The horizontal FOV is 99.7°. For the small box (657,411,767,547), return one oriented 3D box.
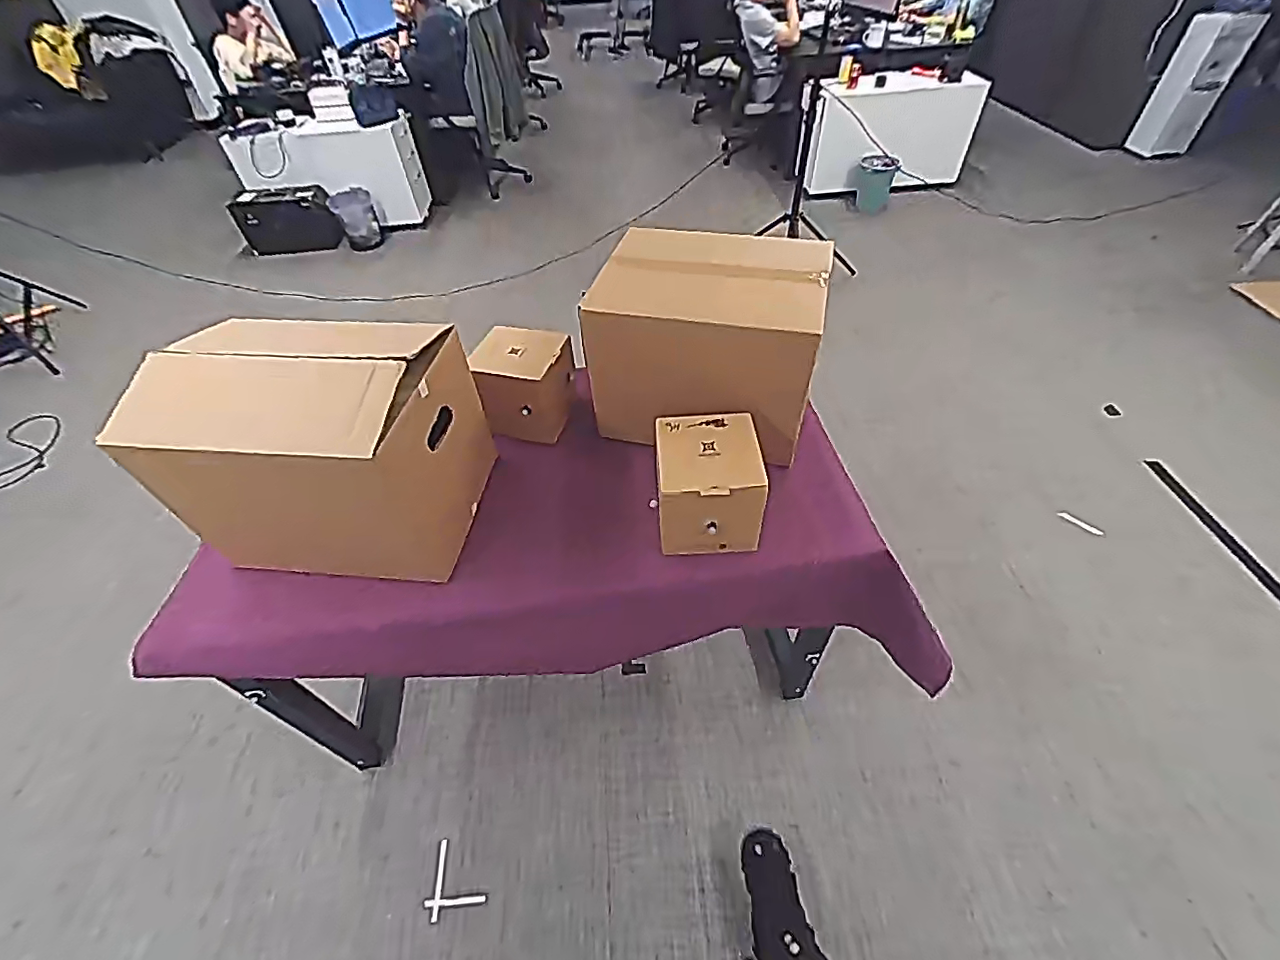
[{"bbox_3d":[0.116,0.005,0.927,0.168,0.176,0.179,-3,48,1],"label":"small box"}]
